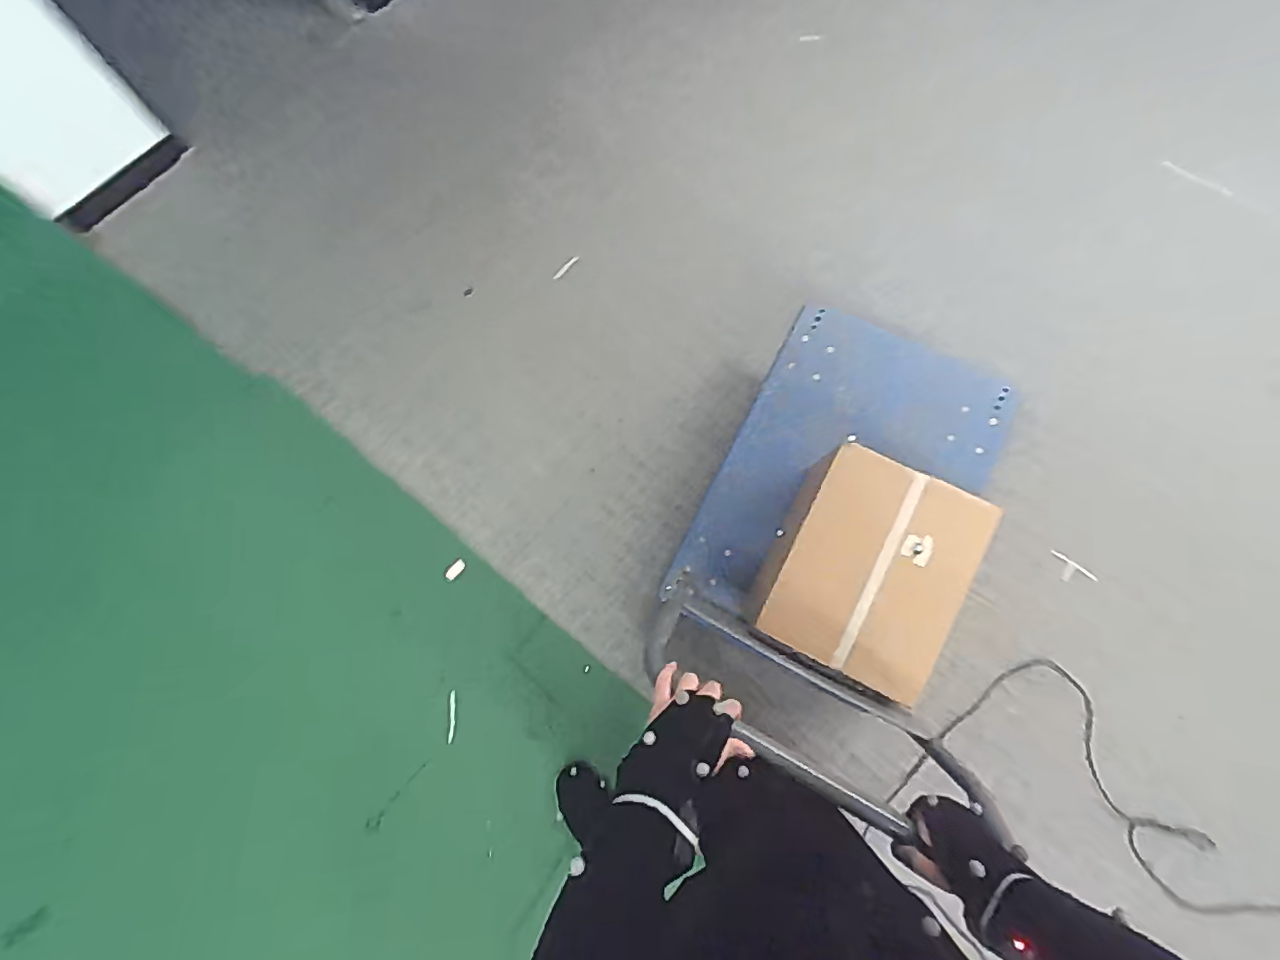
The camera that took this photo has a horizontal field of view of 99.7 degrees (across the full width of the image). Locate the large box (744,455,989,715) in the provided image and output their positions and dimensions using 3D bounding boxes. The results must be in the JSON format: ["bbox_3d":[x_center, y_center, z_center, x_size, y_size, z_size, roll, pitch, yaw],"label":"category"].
[{"bbox_3d":[0.453,0.215,1.168,0.320,0.320,0.408,27,84,8],"label":"large box"}]
